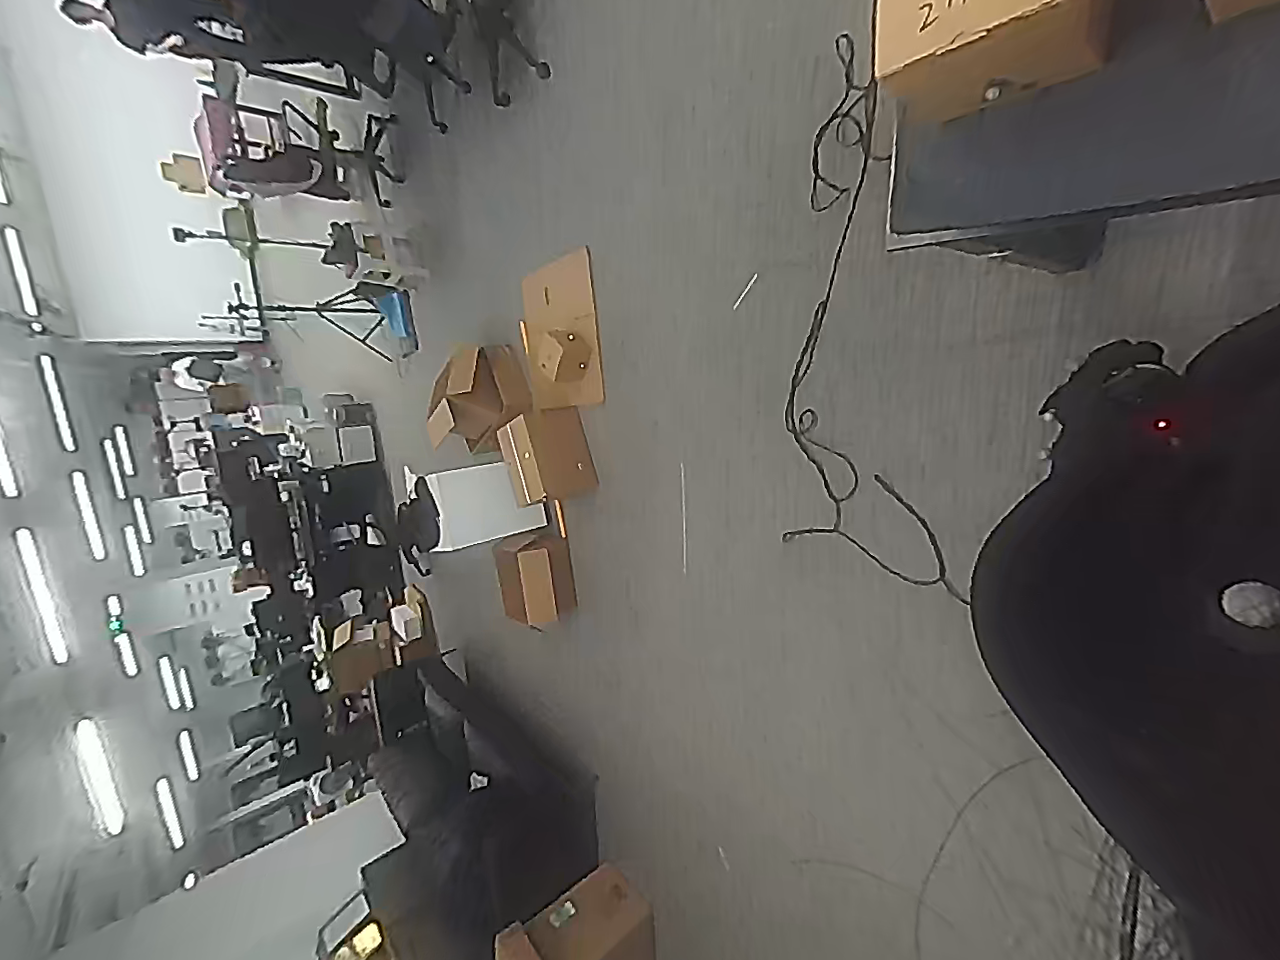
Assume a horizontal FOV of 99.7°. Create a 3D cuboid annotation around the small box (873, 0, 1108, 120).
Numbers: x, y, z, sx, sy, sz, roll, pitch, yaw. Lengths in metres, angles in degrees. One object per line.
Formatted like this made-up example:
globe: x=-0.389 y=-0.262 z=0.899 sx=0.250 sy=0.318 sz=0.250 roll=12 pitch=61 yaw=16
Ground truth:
small box: x=0.358 y=-0.508 z=0.546 sx=0.168 sy=0.176 sz=0.179 roll=10 pitch=106 yaw=47
